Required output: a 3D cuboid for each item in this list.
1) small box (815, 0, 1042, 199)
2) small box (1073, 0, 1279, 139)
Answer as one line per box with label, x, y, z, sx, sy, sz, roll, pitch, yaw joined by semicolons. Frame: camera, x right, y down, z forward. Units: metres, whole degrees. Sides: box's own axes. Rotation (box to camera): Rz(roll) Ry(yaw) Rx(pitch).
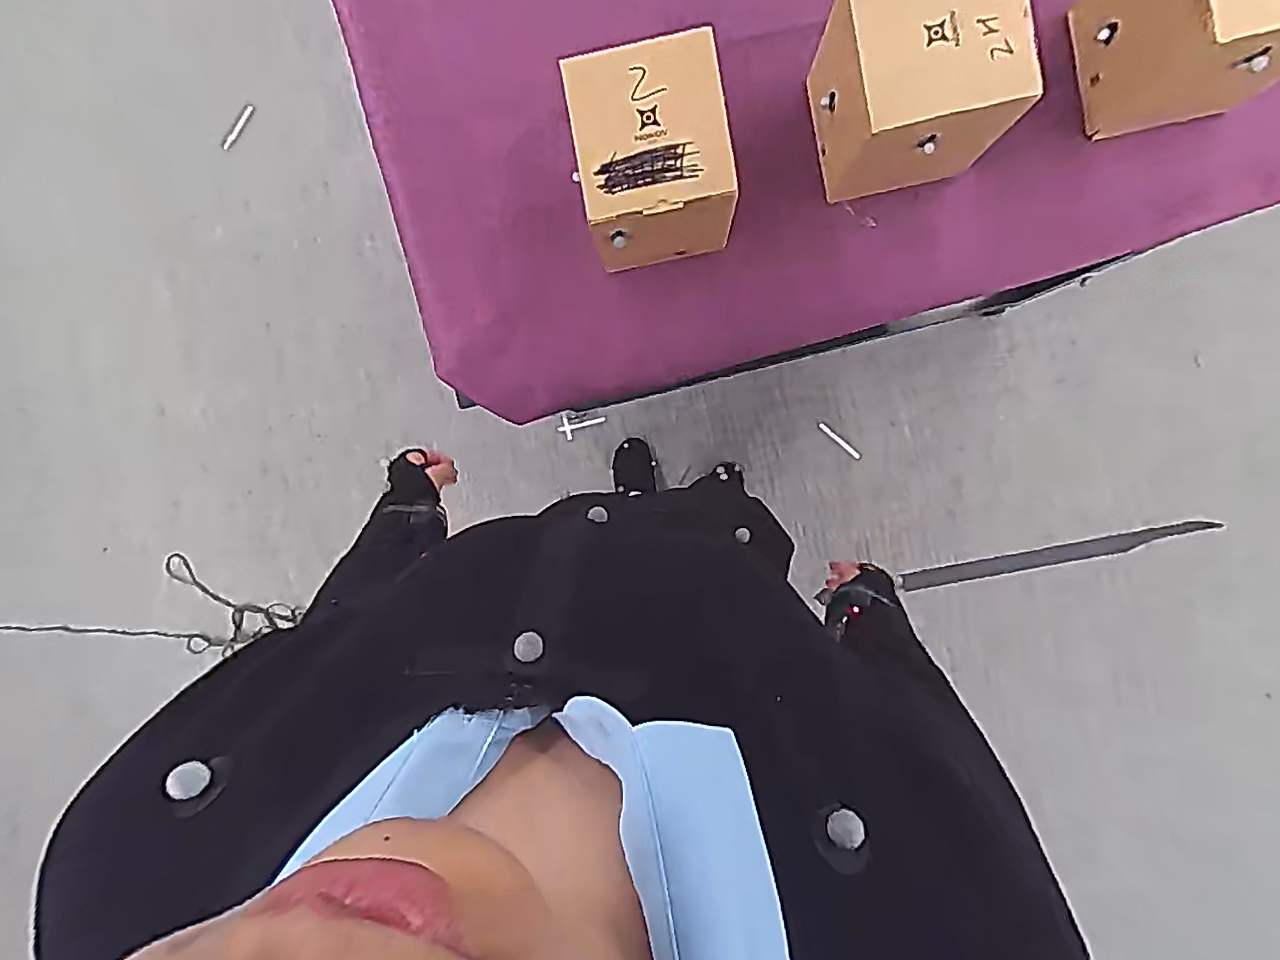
small box;0.314;-0.456;0.629;0.179;0.176;0.168;-10;93;3
small box;0.642;-0.524;0.606;0.179;0.176;0.168;-10;92;5
